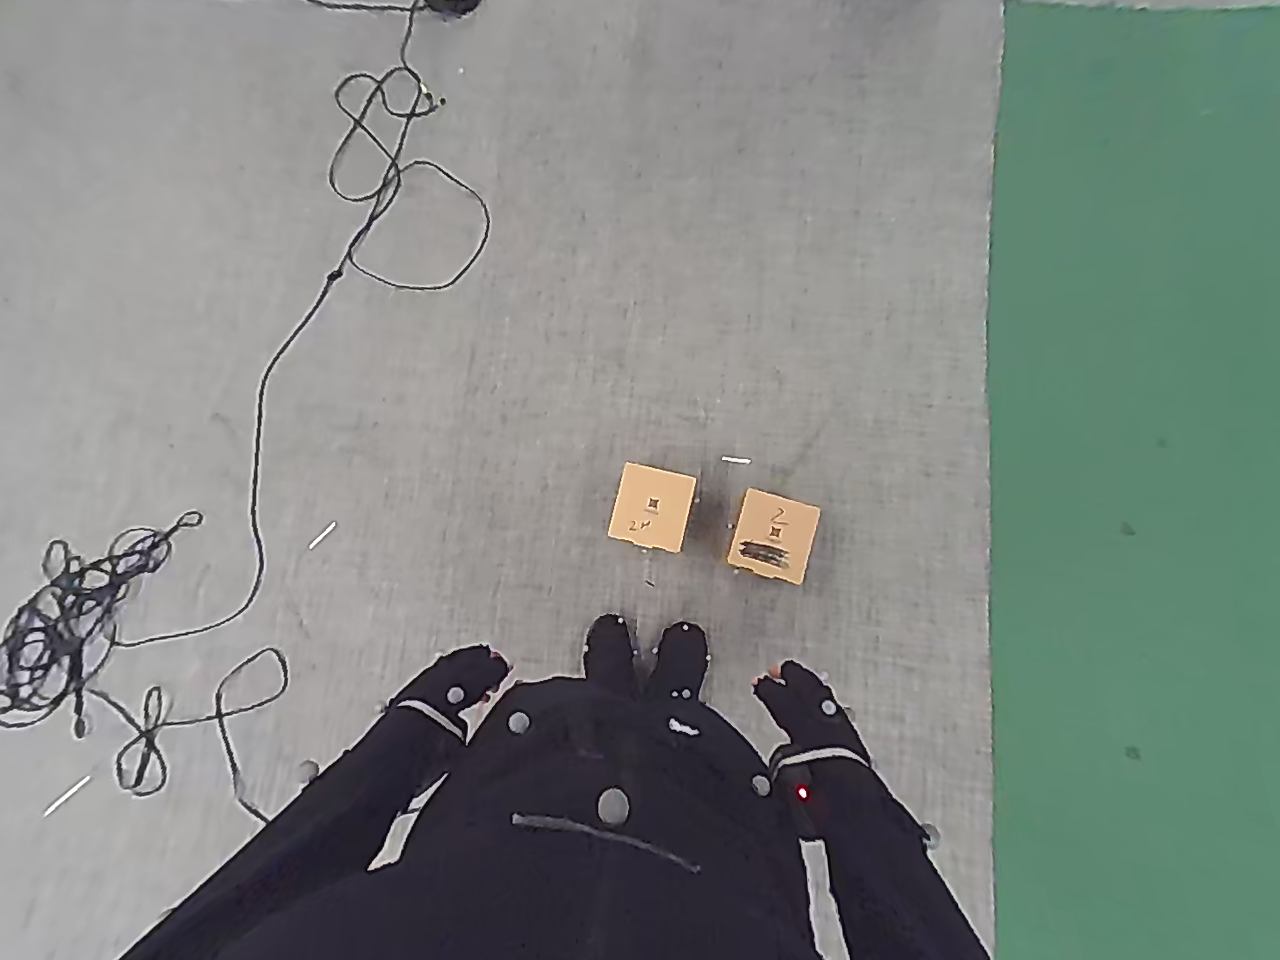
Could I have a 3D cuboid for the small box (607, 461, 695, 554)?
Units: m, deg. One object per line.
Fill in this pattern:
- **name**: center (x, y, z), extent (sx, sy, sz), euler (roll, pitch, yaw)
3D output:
- **small box**: center (0.030, 0.071, 1.278), extent (0.168, 0.176, 0.179), euler (13, 83, 7)
